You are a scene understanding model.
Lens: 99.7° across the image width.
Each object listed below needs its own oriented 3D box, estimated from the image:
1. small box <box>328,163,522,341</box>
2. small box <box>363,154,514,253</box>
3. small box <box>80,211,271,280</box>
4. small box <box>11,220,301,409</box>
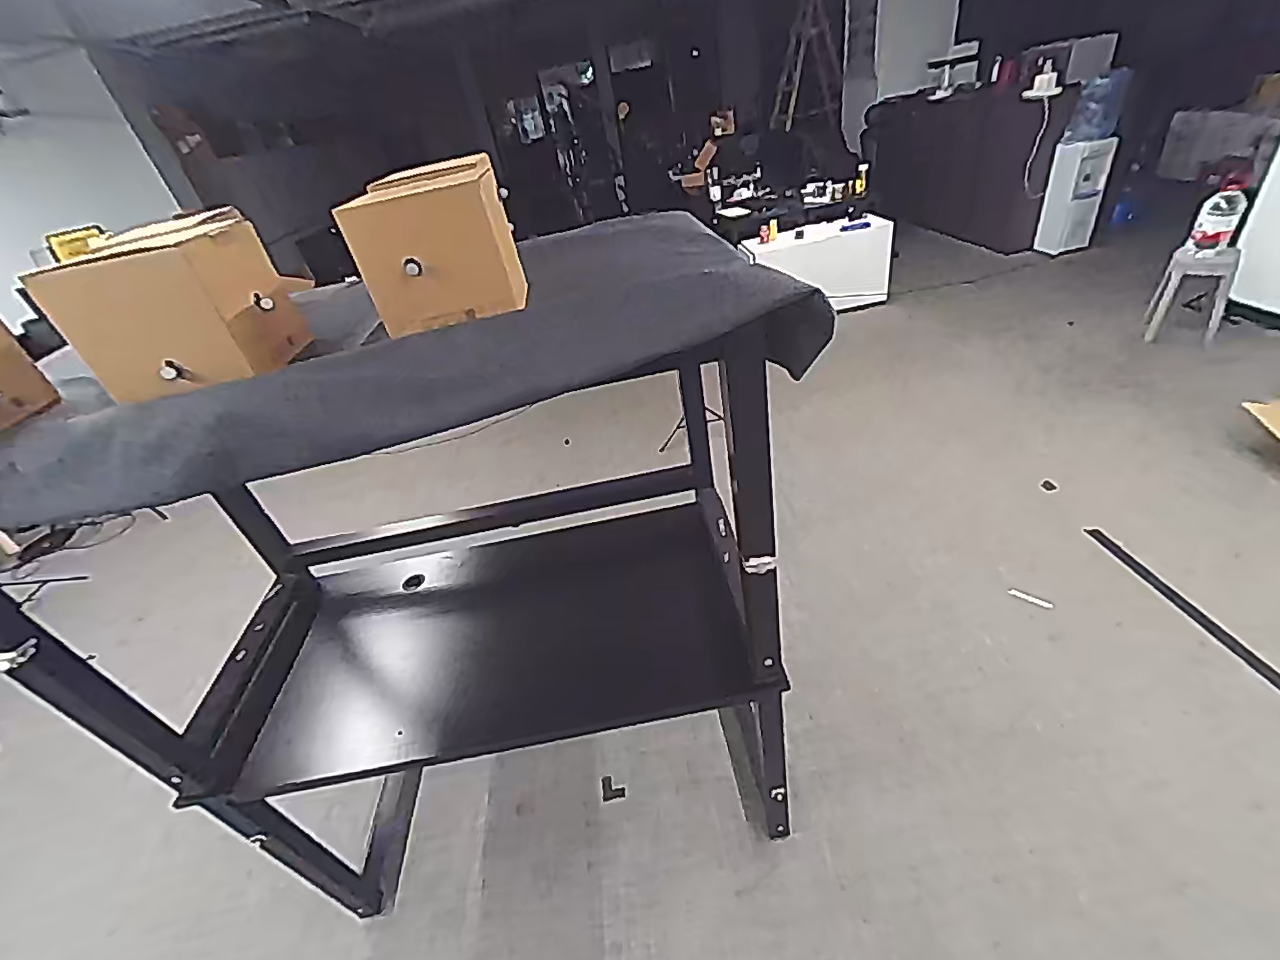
[{"bbox_3d":[-0.258,-0.293,0.701,0.168,0.176,0.179,-14,34,-1],"label":"small box"},{"bbox_3d":[-0.334,-0.445,0.934,0.179,0.176,0.168,-12,36,0],"label":"small box"},{"bbox_3d":[-0.755,-0.340,0.918,0.168,0.176,0.179,-17,35,-4],"label":"small box"},{"bbox_3d":[-0.570,-0.208,0.675,0.179,0.176,0.168,-12,34,-1],"label":"small box"}]
